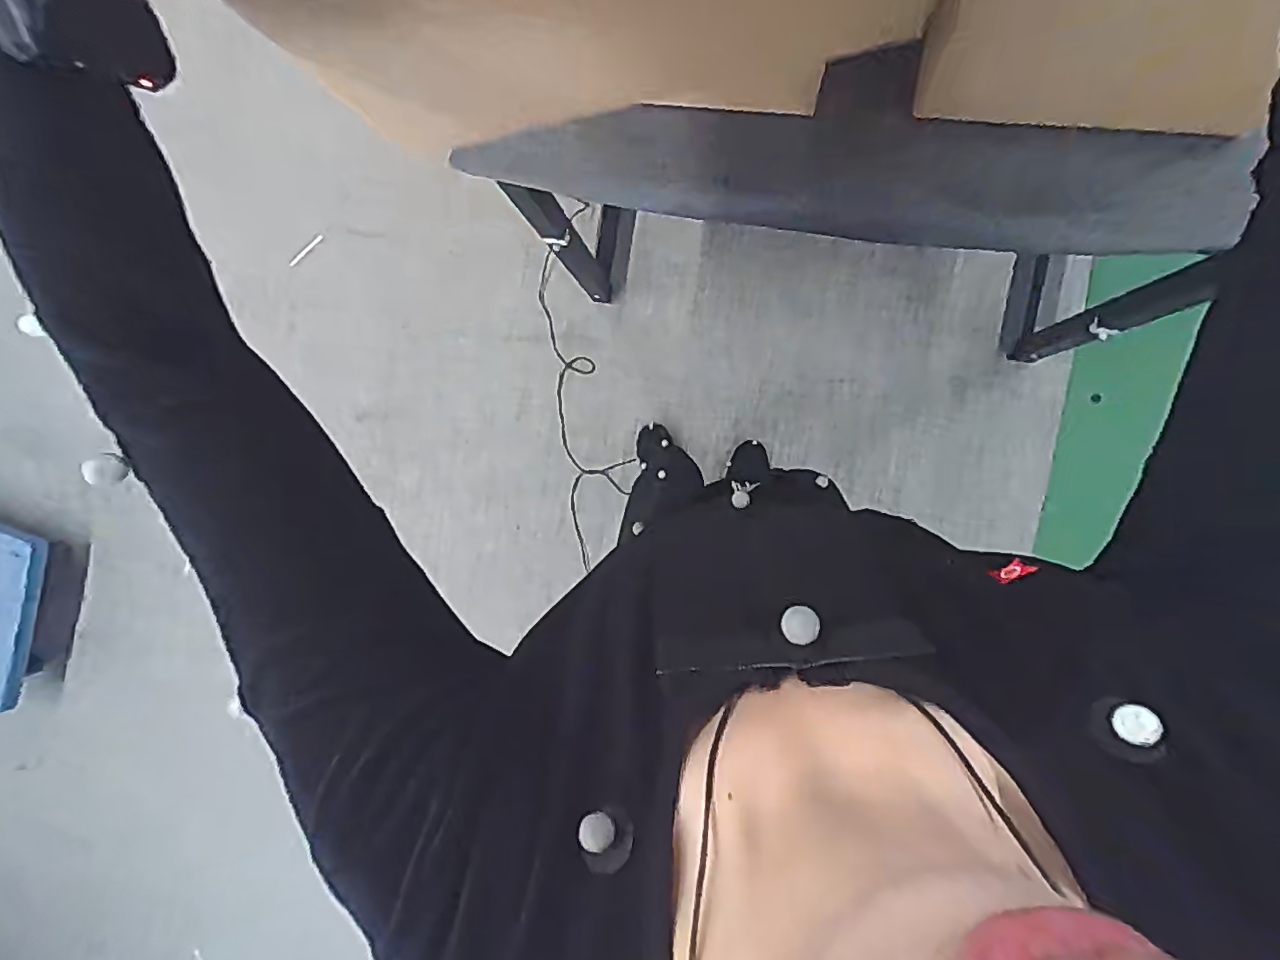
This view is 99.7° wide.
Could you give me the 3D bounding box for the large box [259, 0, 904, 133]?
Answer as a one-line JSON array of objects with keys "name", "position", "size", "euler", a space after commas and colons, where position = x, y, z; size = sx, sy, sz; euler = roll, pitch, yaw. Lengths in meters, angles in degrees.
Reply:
[{"name": "large box", "position": [-0.048, -0.444, 0.264], "size": [0.408, 0.320, 0.320], "euler": [-6, 96, 10]}]
